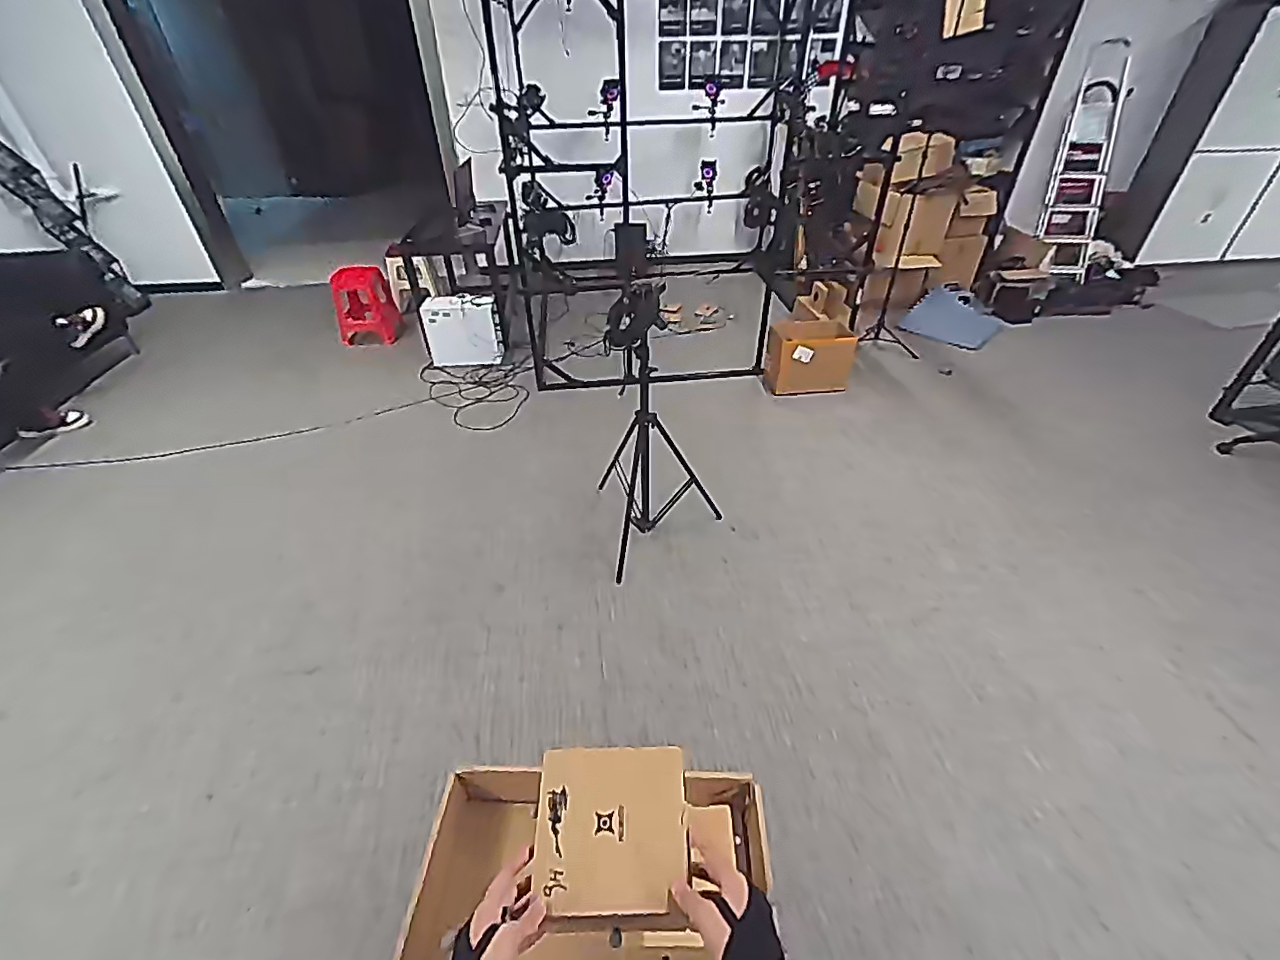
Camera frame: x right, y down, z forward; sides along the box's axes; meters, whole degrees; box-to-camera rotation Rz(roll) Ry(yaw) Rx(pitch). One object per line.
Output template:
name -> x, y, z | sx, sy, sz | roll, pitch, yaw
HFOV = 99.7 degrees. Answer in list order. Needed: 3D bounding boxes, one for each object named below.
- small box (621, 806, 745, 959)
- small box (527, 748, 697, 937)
small box -> 0.060, 0.622, 0.819 | 0.168, 0.176, 0.179 | 0, 37, 1
small box -> -0.030, 0.443, 0.662 | 0.179, 0.176, 0.168 | -1, 45, 0
